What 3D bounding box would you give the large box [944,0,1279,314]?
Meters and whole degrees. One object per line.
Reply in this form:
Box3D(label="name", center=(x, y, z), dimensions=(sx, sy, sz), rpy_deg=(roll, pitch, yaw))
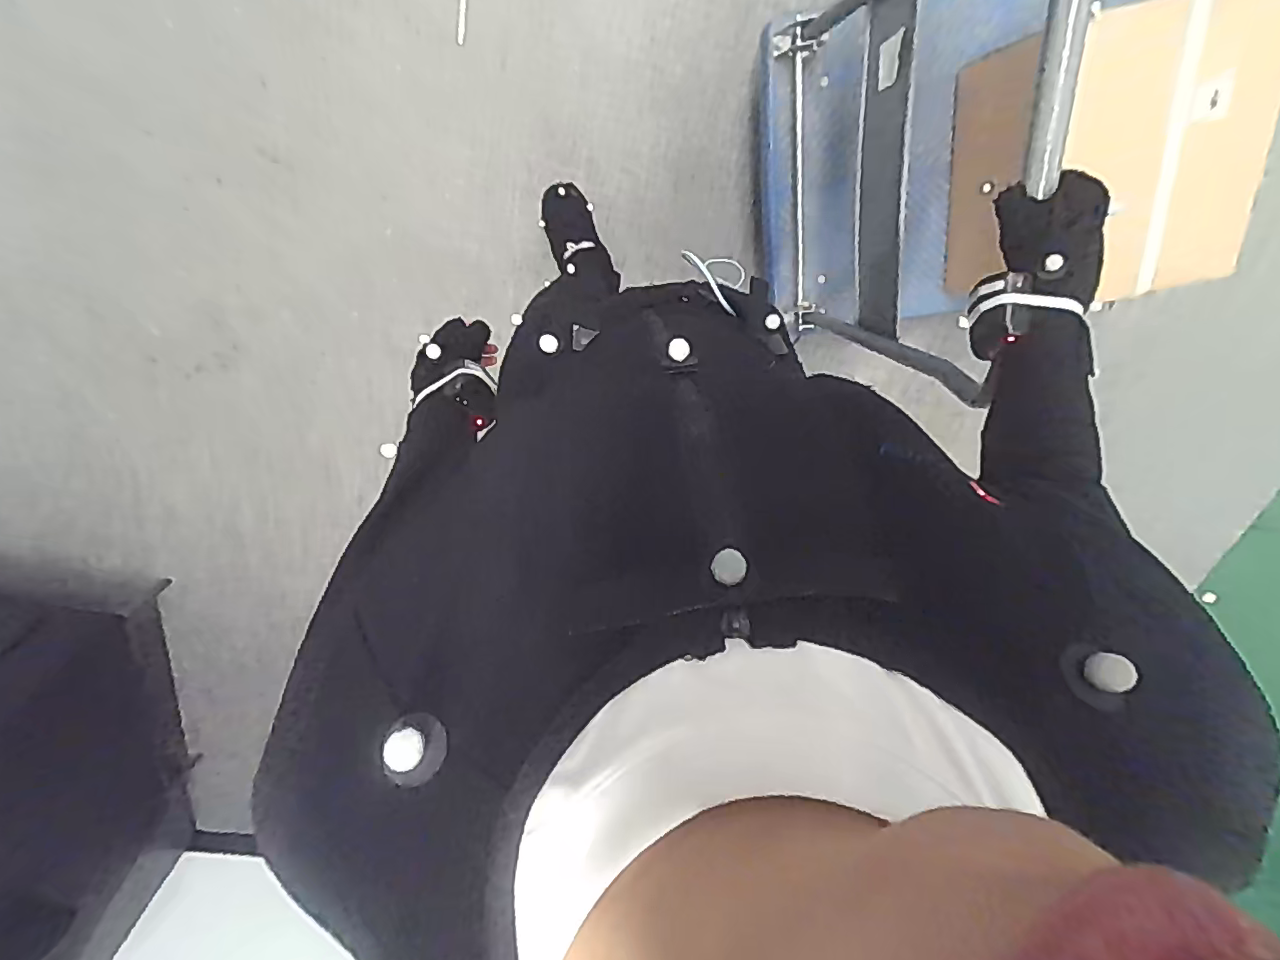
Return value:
Box3D(label="large box", center=(0.776, -0.544, 0.955), dimensions=(0.320, 0.320, 0.408), rpy_deg=(-11, 115, 2))
